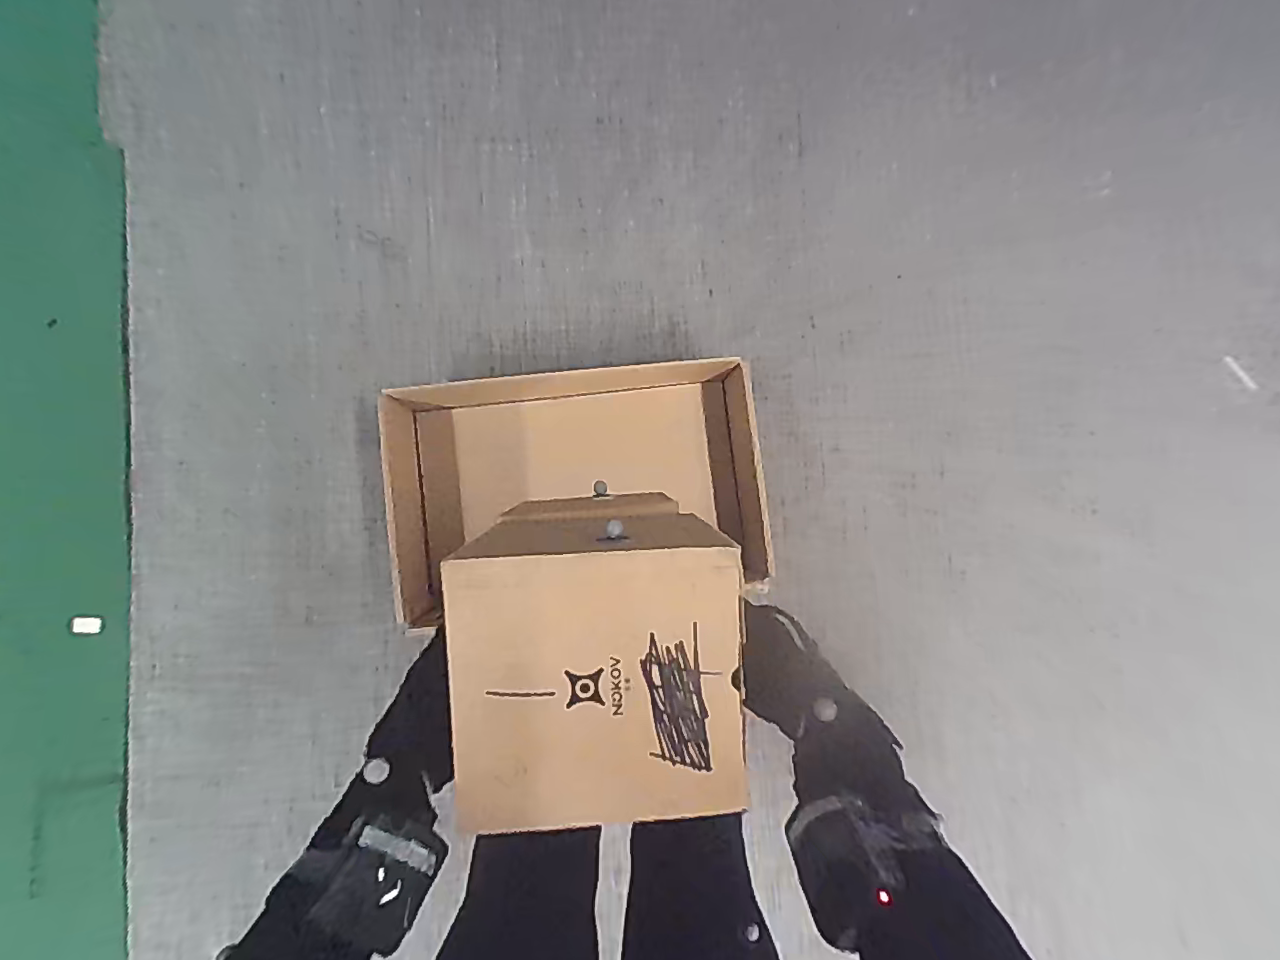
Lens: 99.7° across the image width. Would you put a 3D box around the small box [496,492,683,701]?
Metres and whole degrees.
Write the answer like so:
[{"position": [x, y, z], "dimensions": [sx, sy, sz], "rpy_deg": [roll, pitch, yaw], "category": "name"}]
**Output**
[{"position": [-0.049, 0.110, 0.580], "dimensions": [0.168, 0.176, 0.179], "rpy_deg": [-5, 92, -3], "category": "small box"}]
